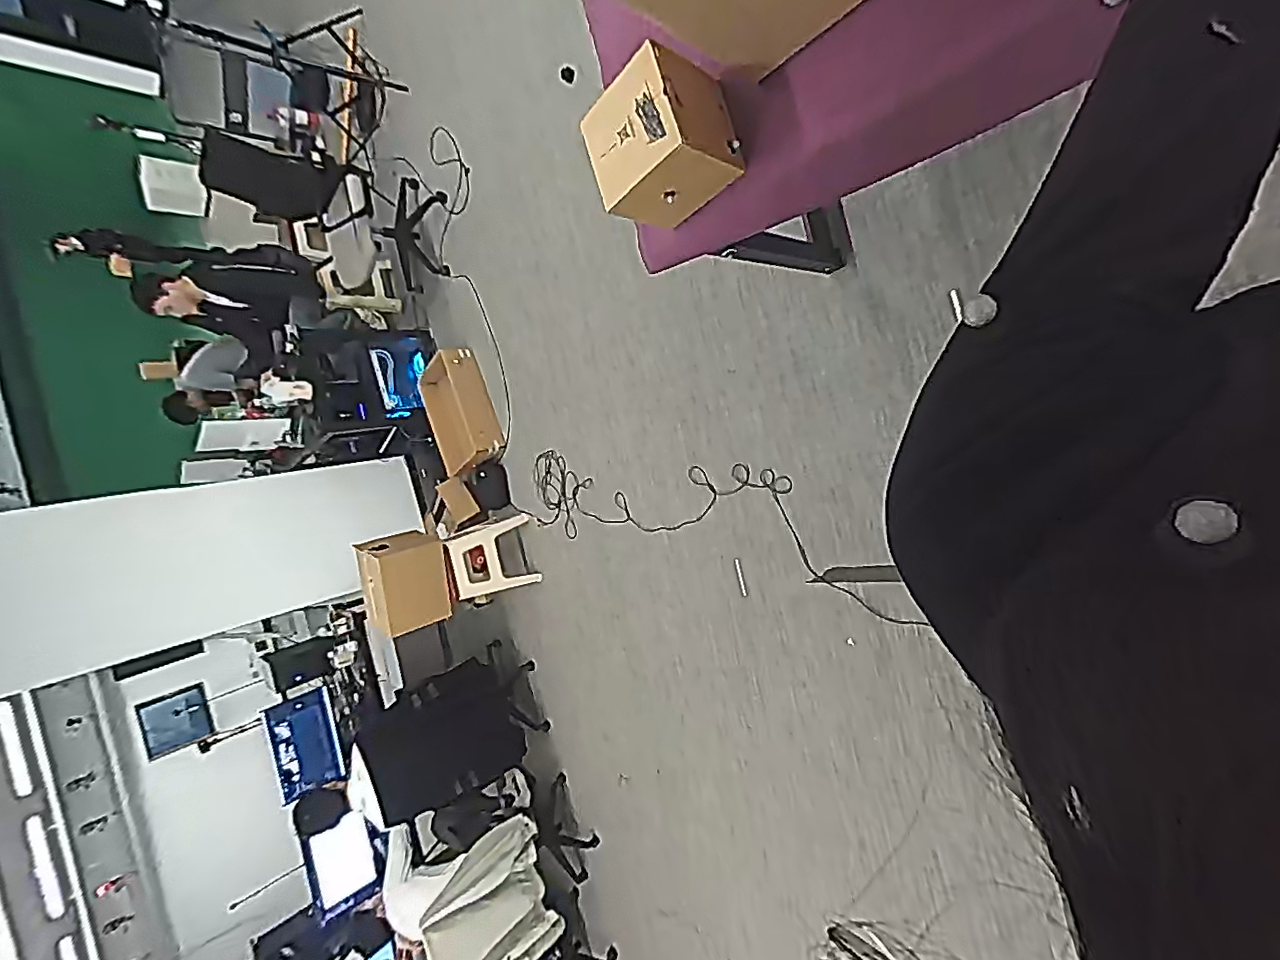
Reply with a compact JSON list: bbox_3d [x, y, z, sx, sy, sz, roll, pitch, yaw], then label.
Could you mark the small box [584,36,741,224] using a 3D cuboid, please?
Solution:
[{"bbox_3d":[0.044,-0.548,0.877,0.179,0.176,0.168,-20,84,46],"label":"small box"}]
